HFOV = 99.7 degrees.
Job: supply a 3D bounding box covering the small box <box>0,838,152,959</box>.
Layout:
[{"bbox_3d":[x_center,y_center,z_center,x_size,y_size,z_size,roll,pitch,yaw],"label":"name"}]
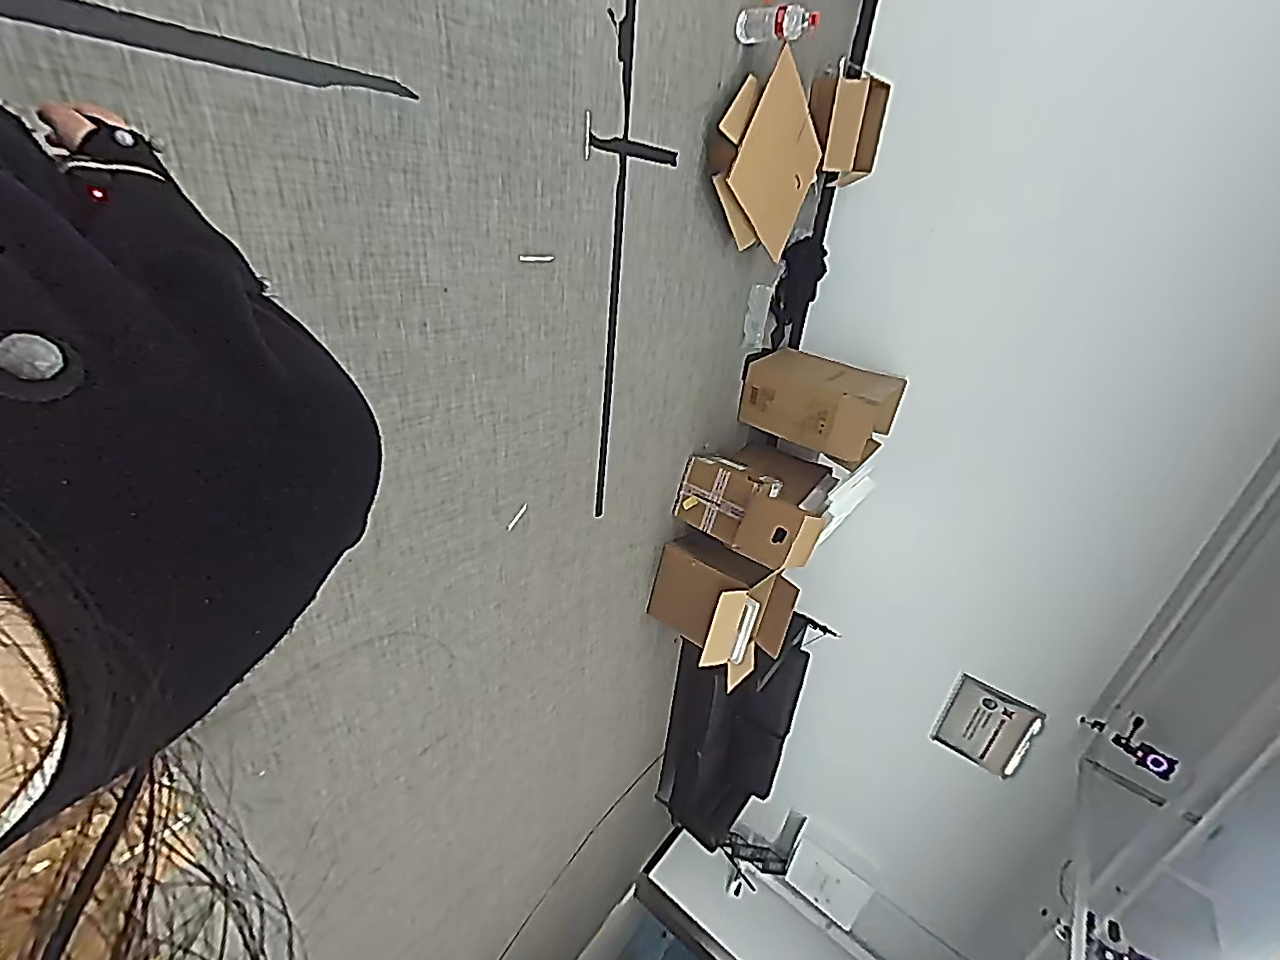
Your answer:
[{"bbox_3d":[-1.132,0.871,1.077,0.179,0.176,0.168,-26,130,-45],"label":"small box"}]
